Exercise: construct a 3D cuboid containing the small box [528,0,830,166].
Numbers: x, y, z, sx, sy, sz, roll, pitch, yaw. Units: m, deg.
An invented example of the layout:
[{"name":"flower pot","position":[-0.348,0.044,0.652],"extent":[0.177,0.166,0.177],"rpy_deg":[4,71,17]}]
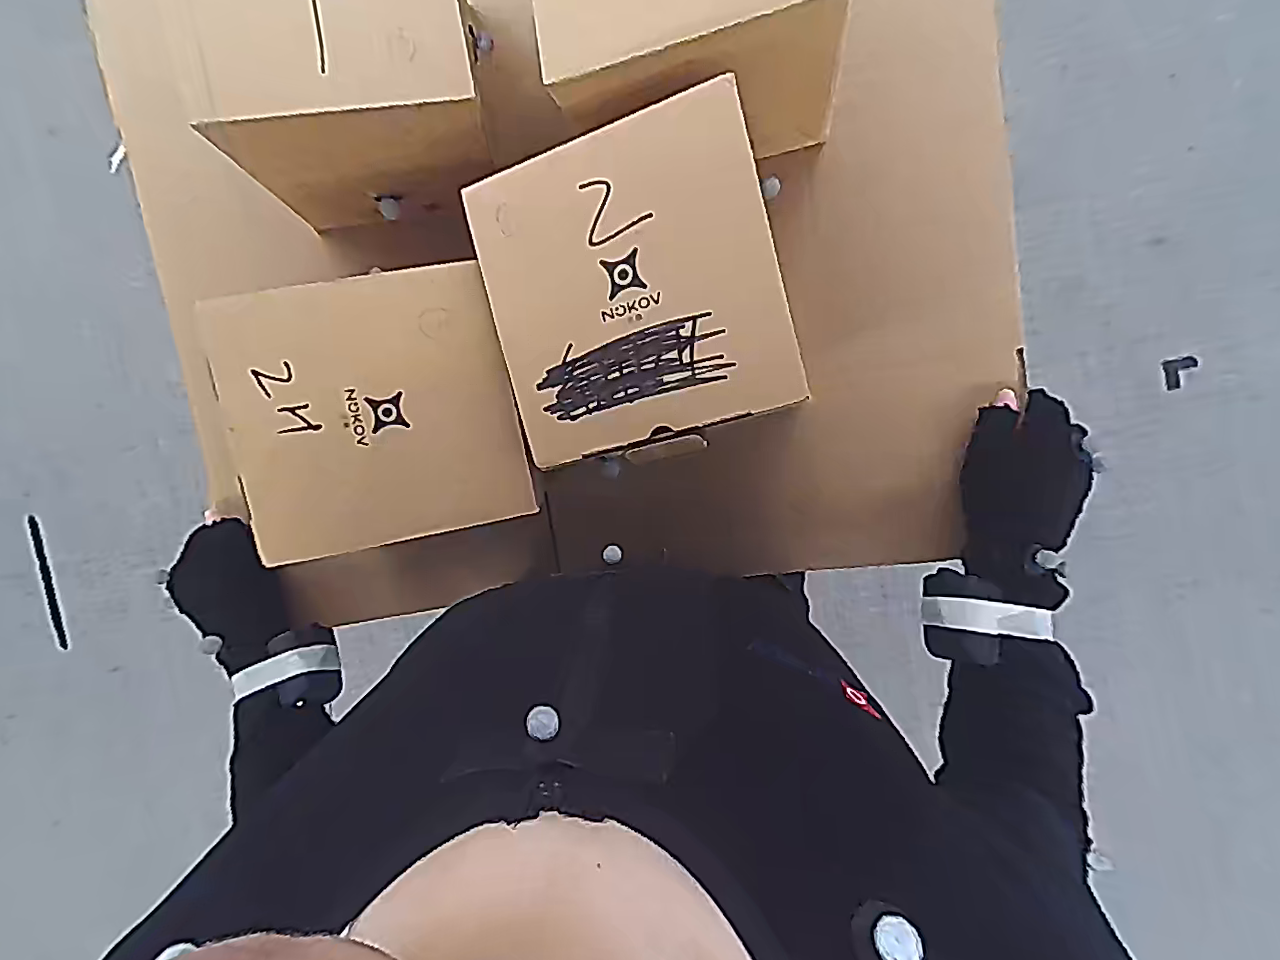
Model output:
[{"name":"small box","position":[0.030,-0.334,0.352],"extent":[0.168,0.176,0.179],"rpy_deg":[-7,95,15]}]
